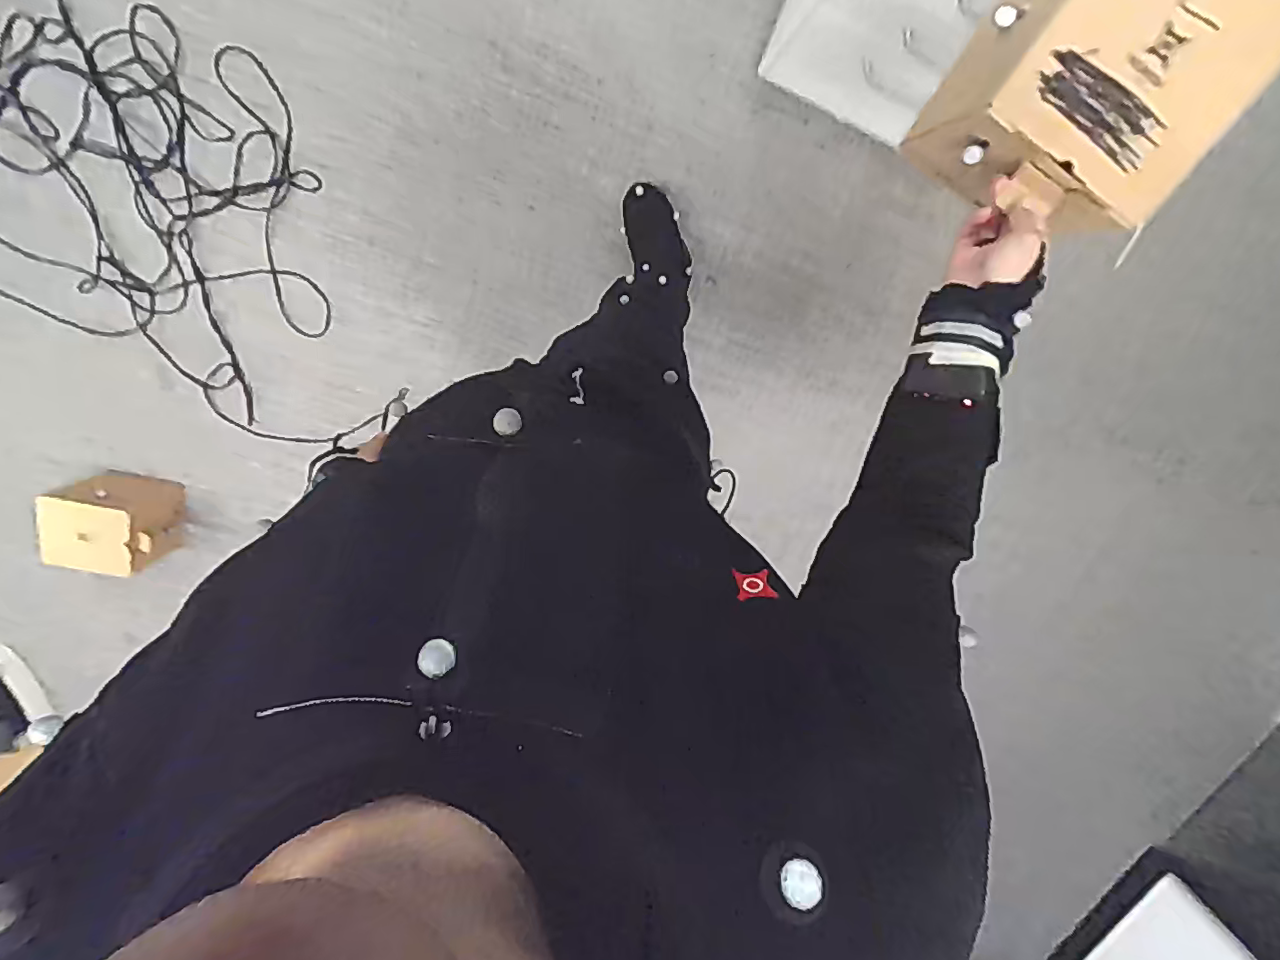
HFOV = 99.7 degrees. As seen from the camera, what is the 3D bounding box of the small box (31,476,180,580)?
[{"bbox_3d":[-1.199,0.101,1.223,0.179,0.176,0.168,13,107,-10],"label":"small box"}]
